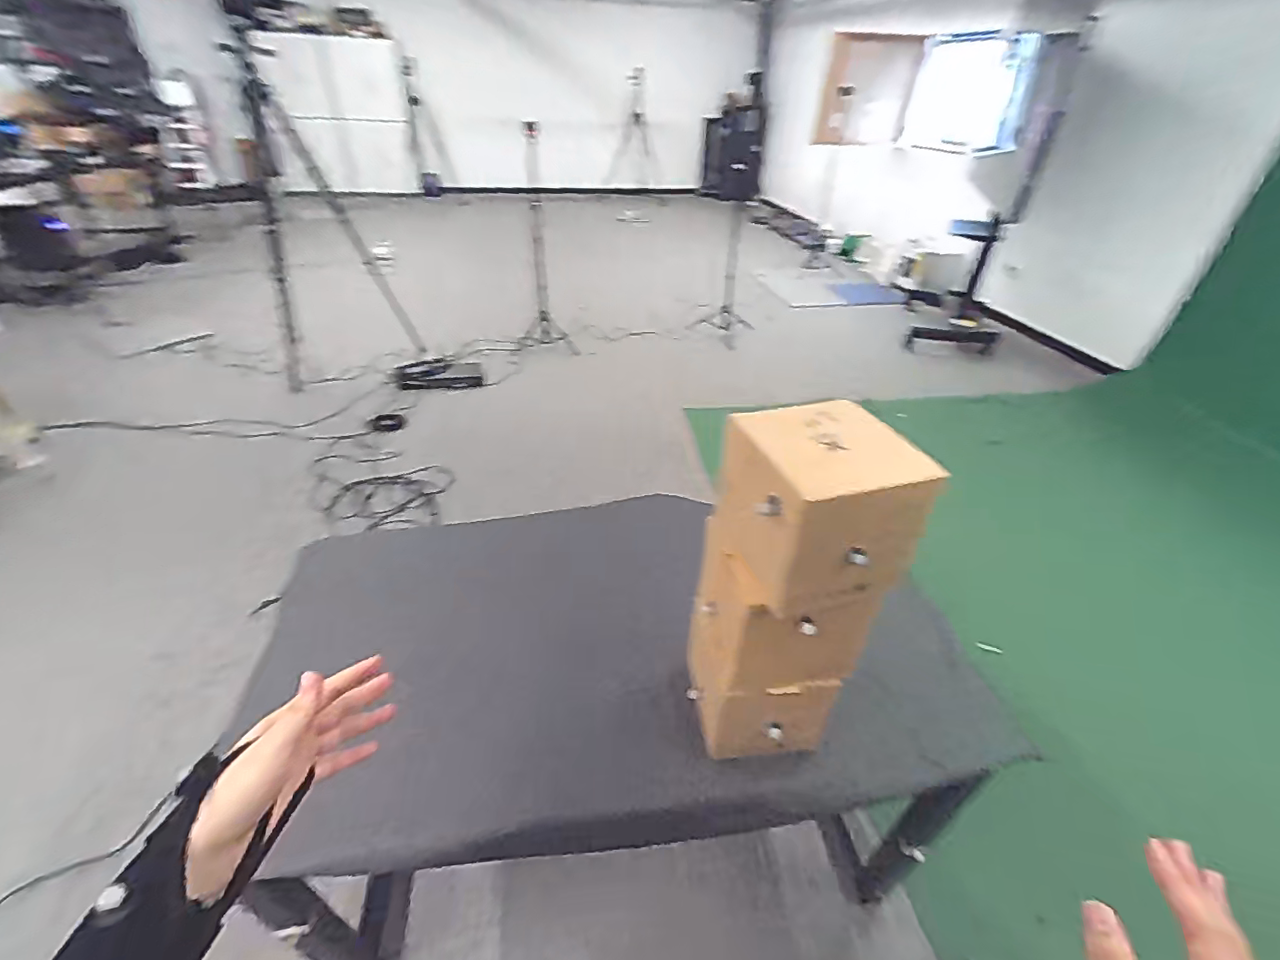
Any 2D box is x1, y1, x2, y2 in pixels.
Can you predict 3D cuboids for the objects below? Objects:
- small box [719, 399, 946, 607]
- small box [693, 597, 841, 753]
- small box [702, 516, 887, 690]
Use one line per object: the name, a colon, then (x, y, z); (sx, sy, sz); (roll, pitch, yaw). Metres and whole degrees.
small box: (0.203, 0.027, 0.627); (0.168, 0.176, 0.179); (-9, 36, -14)
small box: (0.179, 0.292, 0.820); (0.168, 0.176, 0.179); (-4, 36, -6)
small box: (0.191, 0.158, 0.728); (0.179, 0.176, 0.168); (-5, 35, -7)
